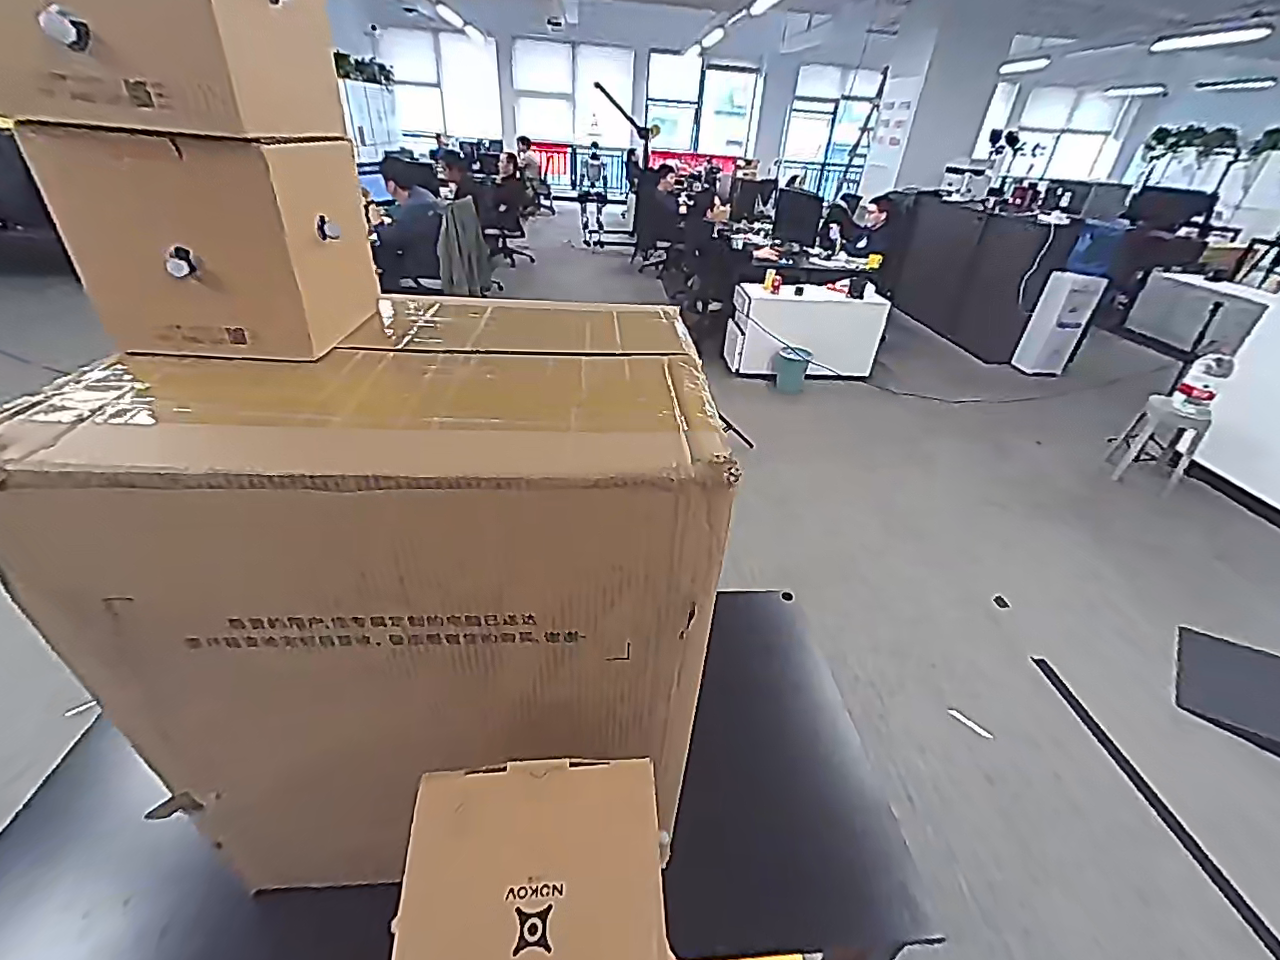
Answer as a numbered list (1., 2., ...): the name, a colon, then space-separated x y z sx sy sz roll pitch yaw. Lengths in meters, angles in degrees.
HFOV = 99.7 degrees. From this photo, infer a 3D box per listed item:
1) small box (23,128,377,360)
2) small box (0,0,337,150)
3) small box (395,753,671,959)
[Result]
1. small box: -0.363 -0.218 0.497 0.168 0.176 0.179 1 33 -6
2. small box: -0.347 -0.349 0.395 0.168 0.176 0.179 2 33 -5
3. small box: -0.070 0.319 0.397 0.168 0.176 0.179 -1 52 -5
